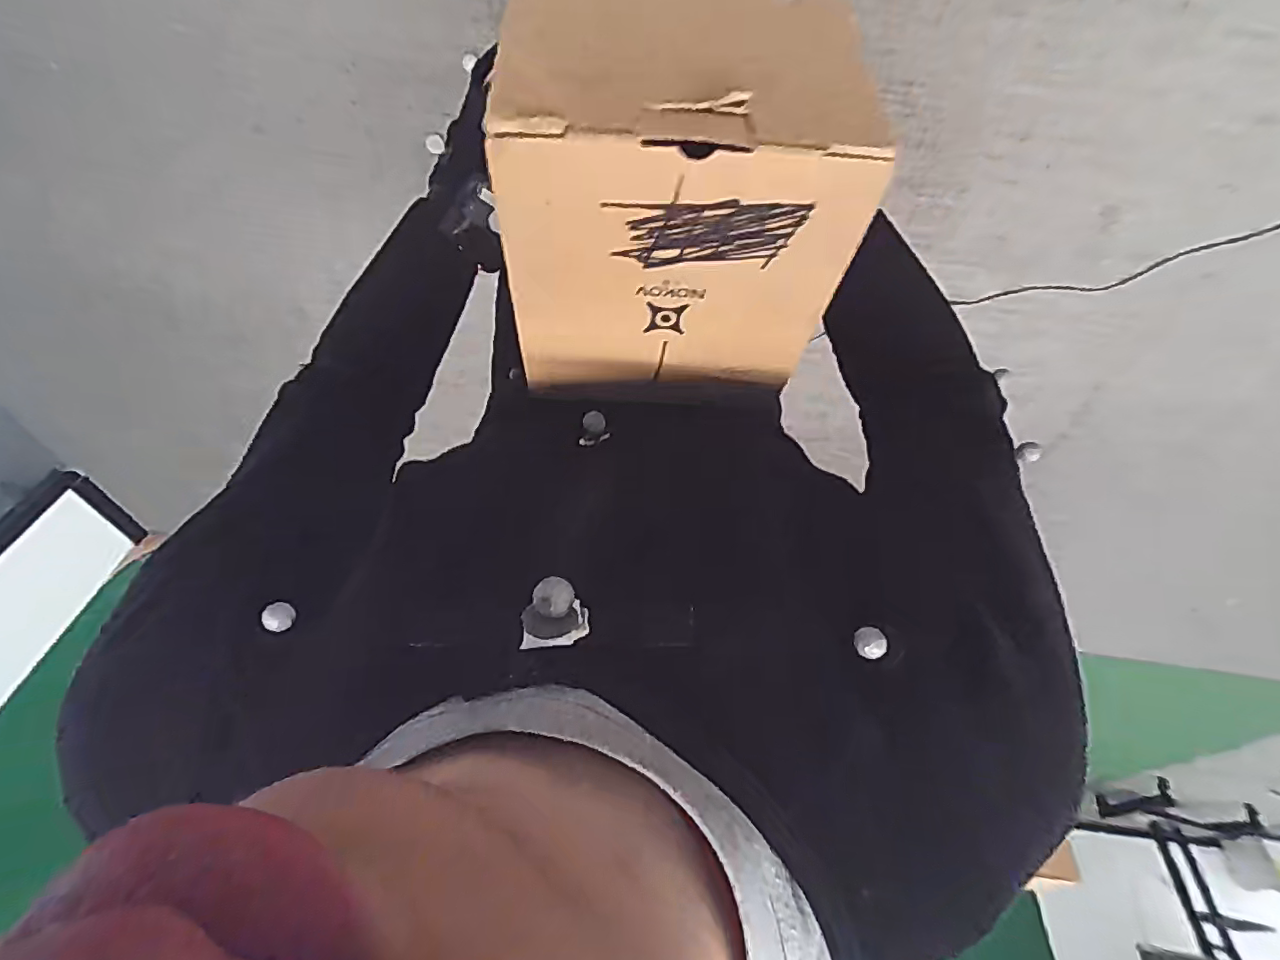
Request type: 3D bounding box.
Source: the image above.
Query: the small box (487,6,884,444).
[{"bbox_3d":[0.013,-0.138,0.324,0.168,0.176,0.179,2,154,-3],"label":"small box"}]
